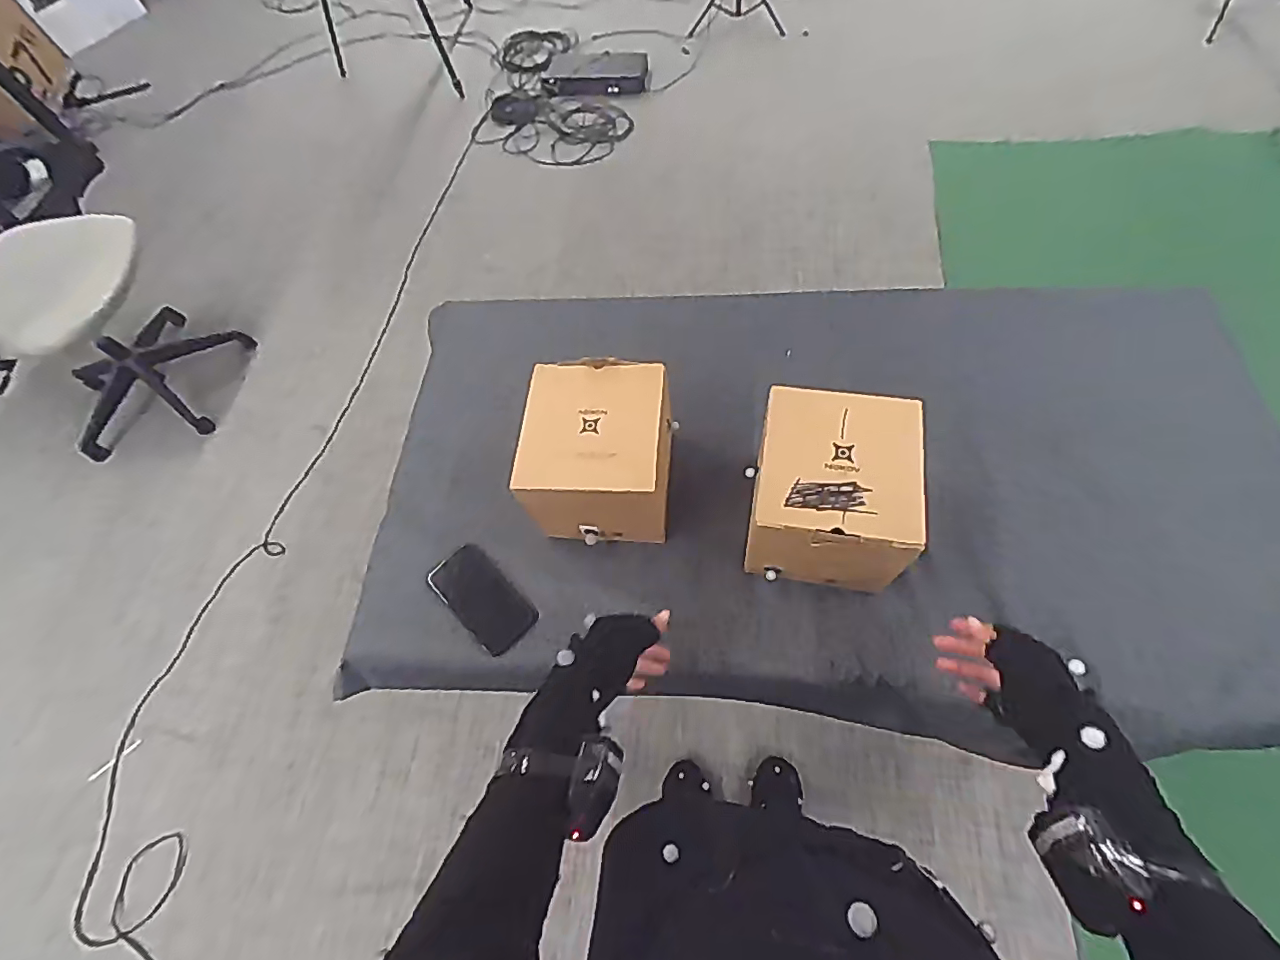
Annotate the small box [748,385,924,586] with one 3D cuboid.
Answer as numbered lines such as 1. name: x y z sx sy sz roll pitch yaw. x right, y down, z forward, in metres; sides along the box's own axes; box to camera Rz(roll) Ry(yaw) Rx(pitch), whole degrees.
1. small box: 0.223 0.014 0.643 0.168 0.176 0.179 8 64 11

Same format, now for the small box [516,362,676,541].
1. small box: -0.043 -0.033 0.702 0.168 0.176 0.179 0 65 9
